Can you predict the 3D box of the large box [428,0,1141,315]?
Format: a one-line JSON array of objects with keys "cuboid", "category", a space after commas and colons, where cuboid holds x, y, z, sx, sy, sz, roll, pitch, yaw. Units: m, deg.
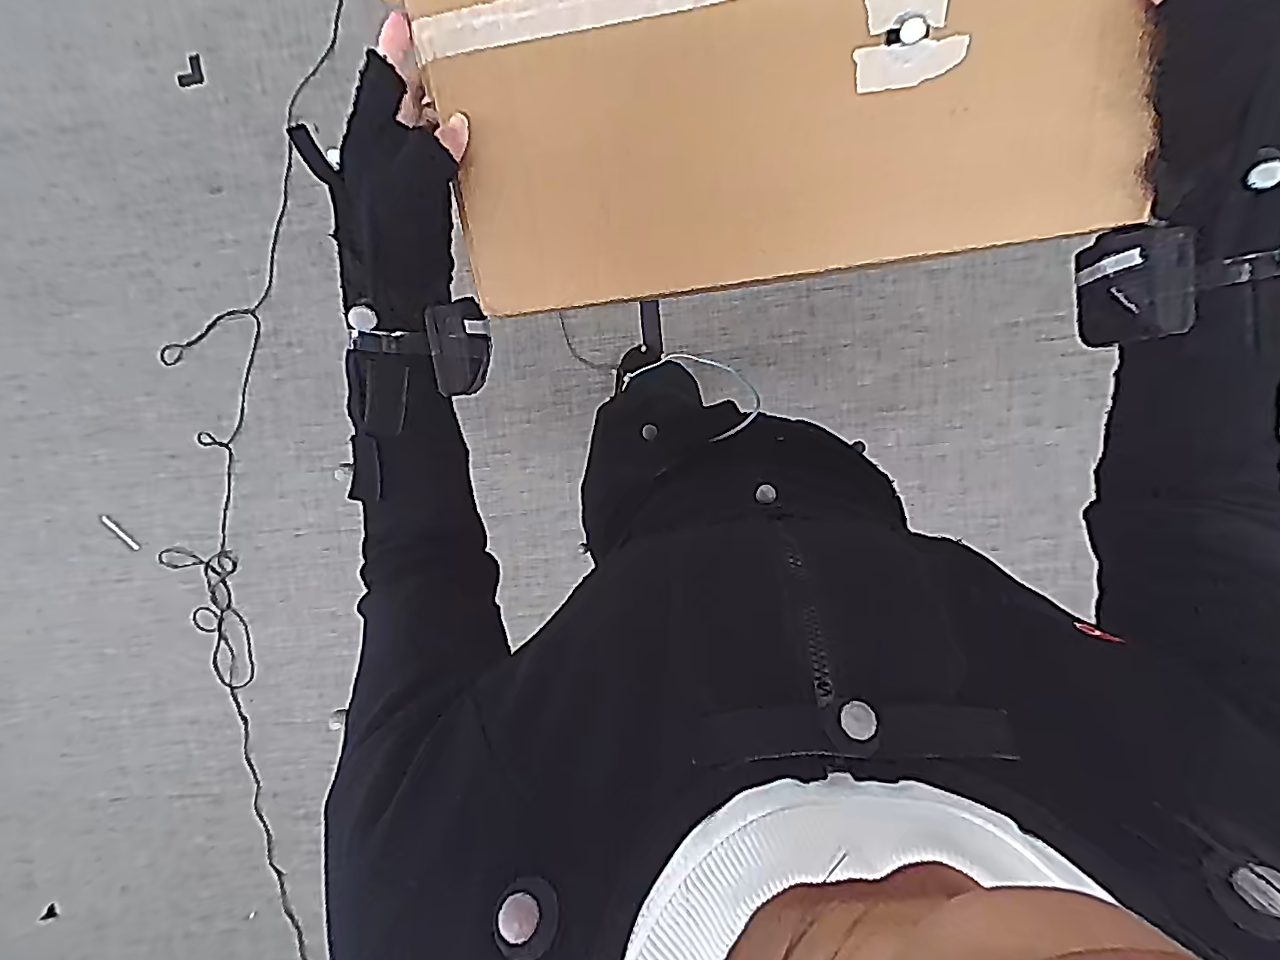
[{"cuboid": [0.082, -0.328, 0.448, 0.408, 0.320, 0.320, -7, 108, 6], "category": "large box"}]
